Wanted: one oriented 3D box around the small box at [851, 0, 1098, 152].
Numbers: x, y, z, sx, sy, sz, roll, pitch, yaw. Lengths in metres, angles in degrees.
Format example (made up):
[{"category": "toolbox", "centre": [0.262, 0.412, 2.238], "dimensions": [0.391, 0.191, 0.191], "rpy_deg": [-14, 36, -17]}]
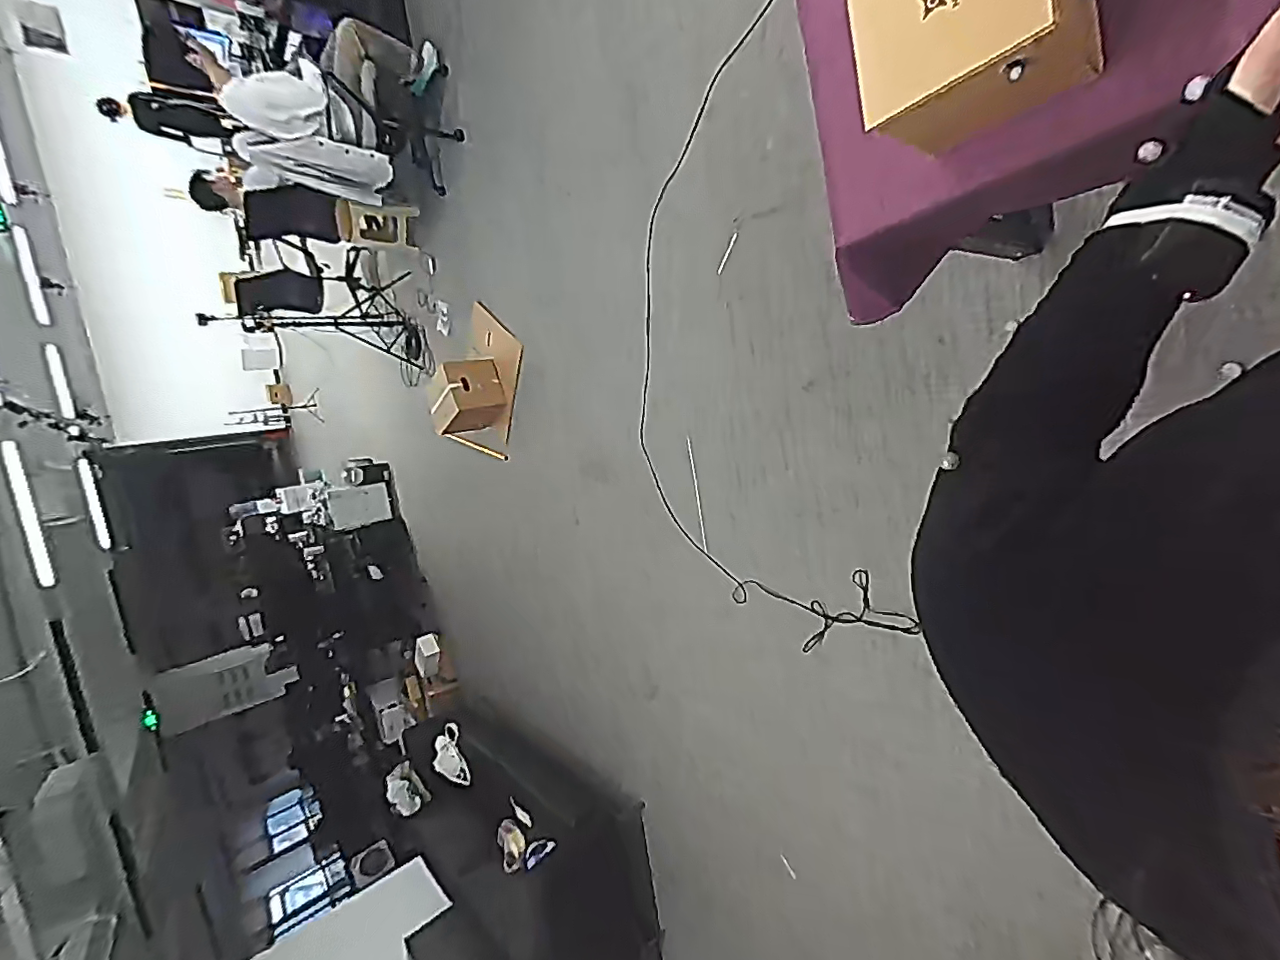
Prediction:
[{"category": "small box", "centre": [0.355, -0.486, 0.579], "dimensions": [0.179, 0.176, 0.168], "rpy_deg": [-5, 97, 50]}]
